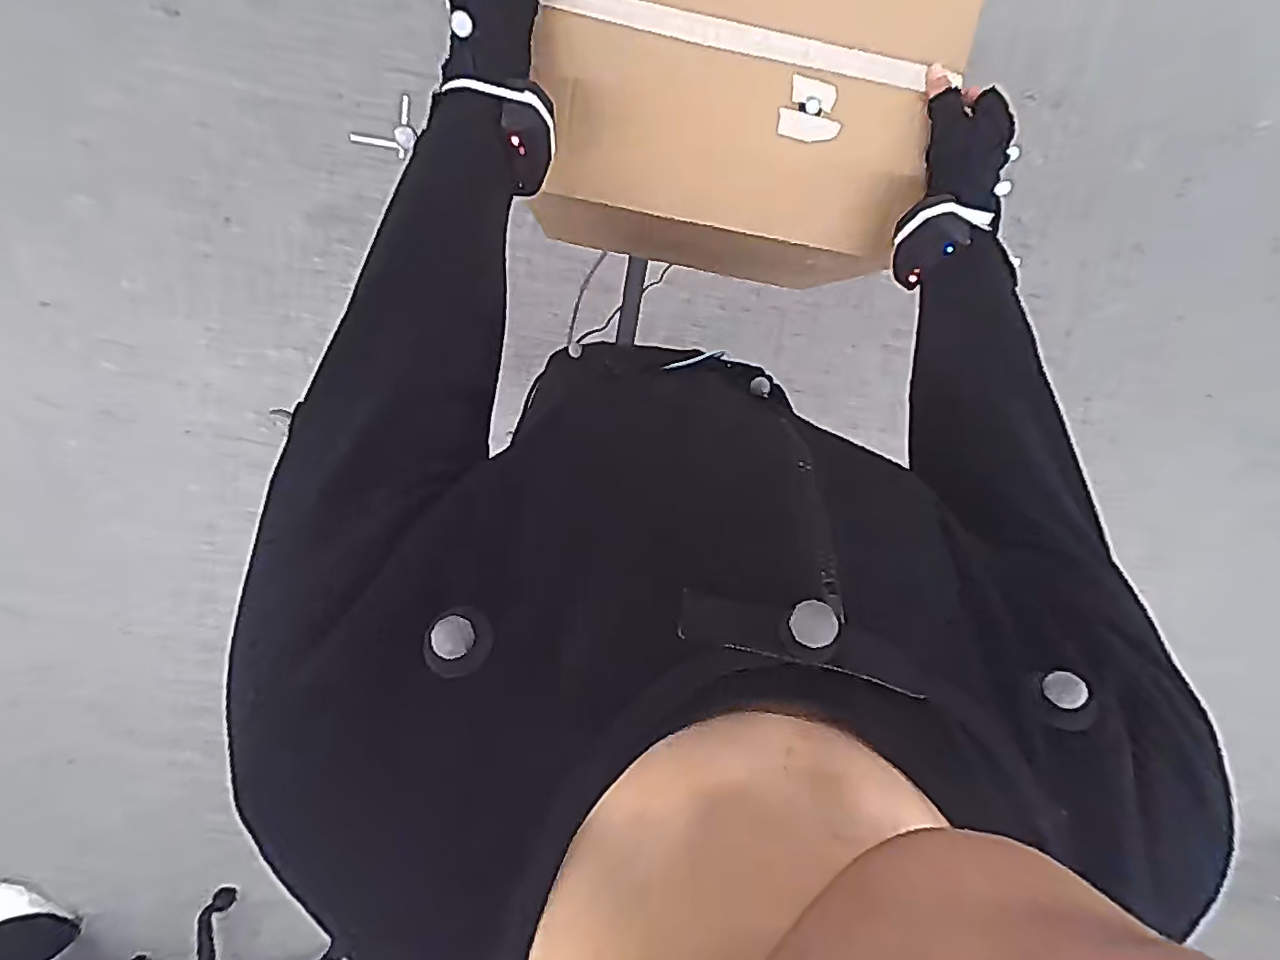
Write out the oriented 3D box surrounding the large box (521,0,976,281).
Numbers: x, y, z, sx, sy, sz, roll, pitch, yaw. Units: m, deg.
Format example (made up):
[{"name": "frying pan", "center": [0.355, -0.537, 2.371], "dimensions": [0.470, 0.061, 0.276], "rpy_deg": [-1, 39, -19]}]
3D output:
[{"name": "large box", "center": [0.094, -0.443, 0.643], "dimensions": [0.408, 0.320, 0.320], "rpy_deg": [9, 105, -6]}]
